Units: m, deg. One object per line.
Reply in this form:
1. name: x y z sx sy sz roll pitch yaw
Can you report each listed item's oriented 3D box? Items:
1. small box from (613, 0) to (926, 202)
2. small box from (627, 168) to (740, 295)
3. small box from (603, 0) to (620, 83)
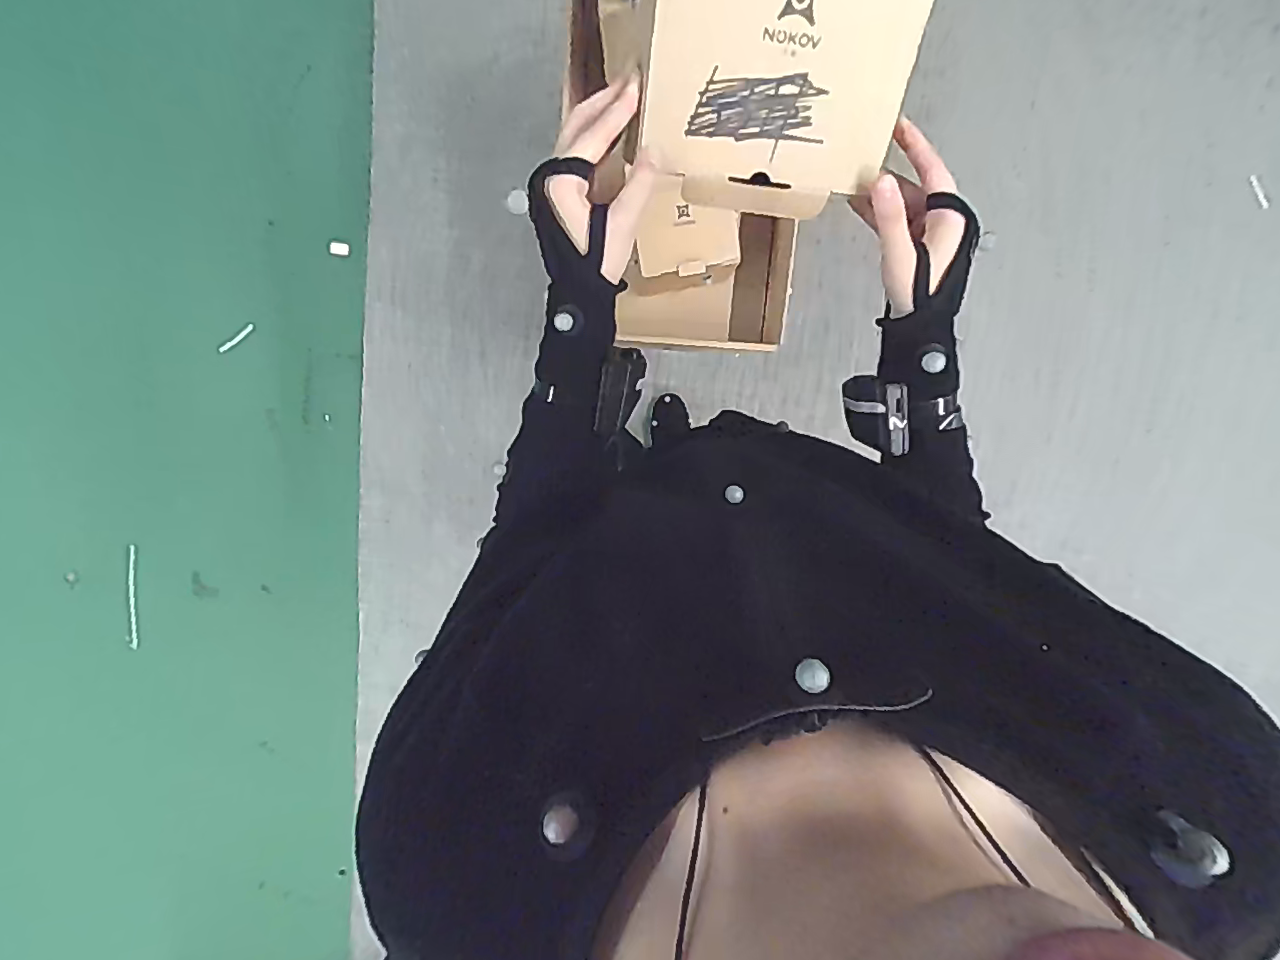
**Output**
1. small box: 0.075 -0.314 0.382 0.168 0.176 0.179 1 124 -11
2. small box: 0.073 -0.432 0.946 0.168 0.176 0.179 -8 98 1
3. small box: 0.042 -0.673 0.745 0.179 0.176 0.168 0 99 2
